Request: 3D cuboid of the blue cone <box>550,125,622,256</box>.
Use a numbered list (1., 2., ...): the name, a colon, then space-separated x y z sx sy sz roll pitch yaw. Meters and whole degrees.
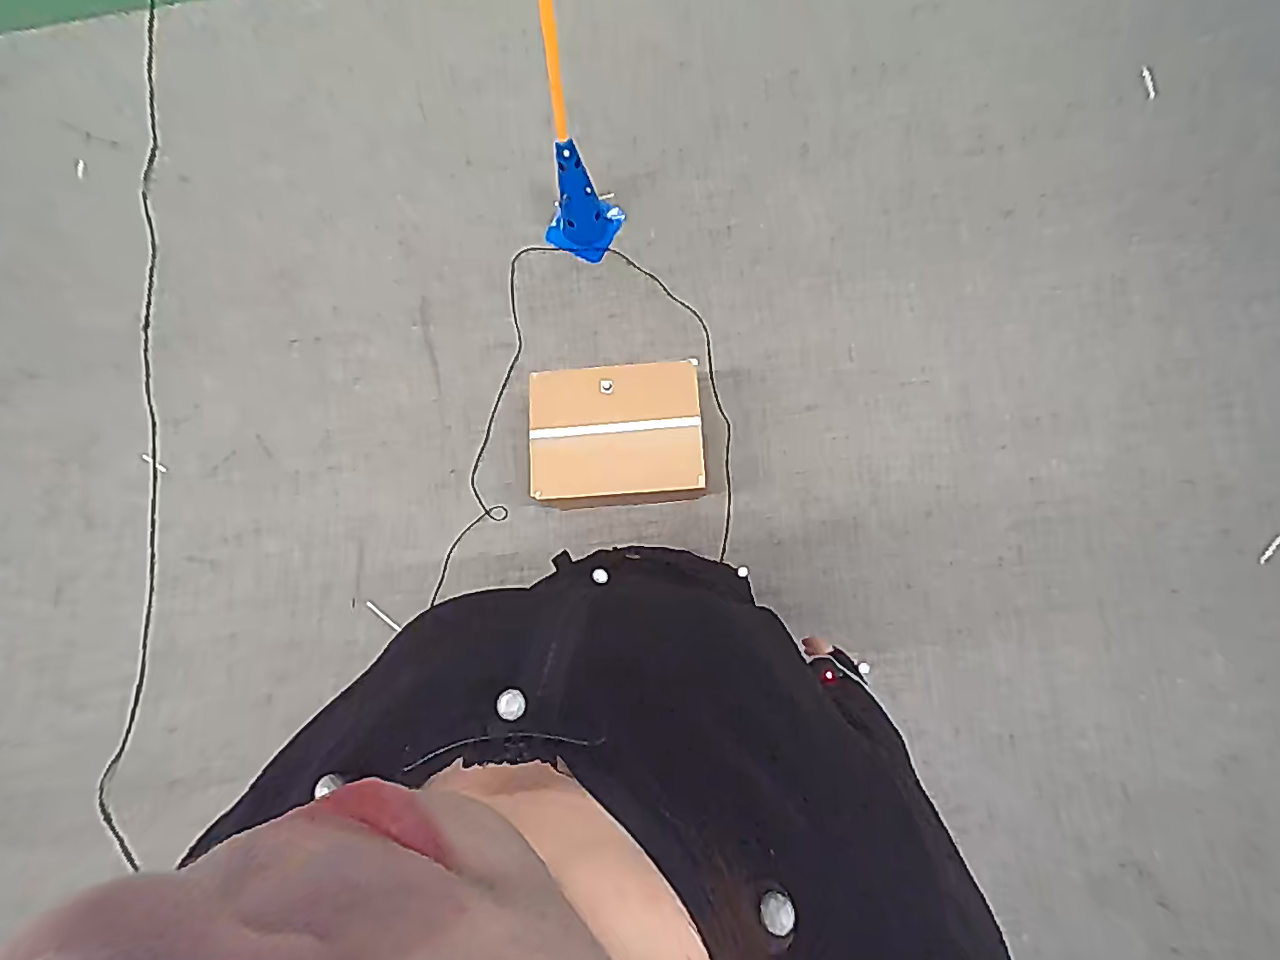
1. blue cone: -0.173 -0.821 1.497 0.192 0.380 0.193 26 83 6
